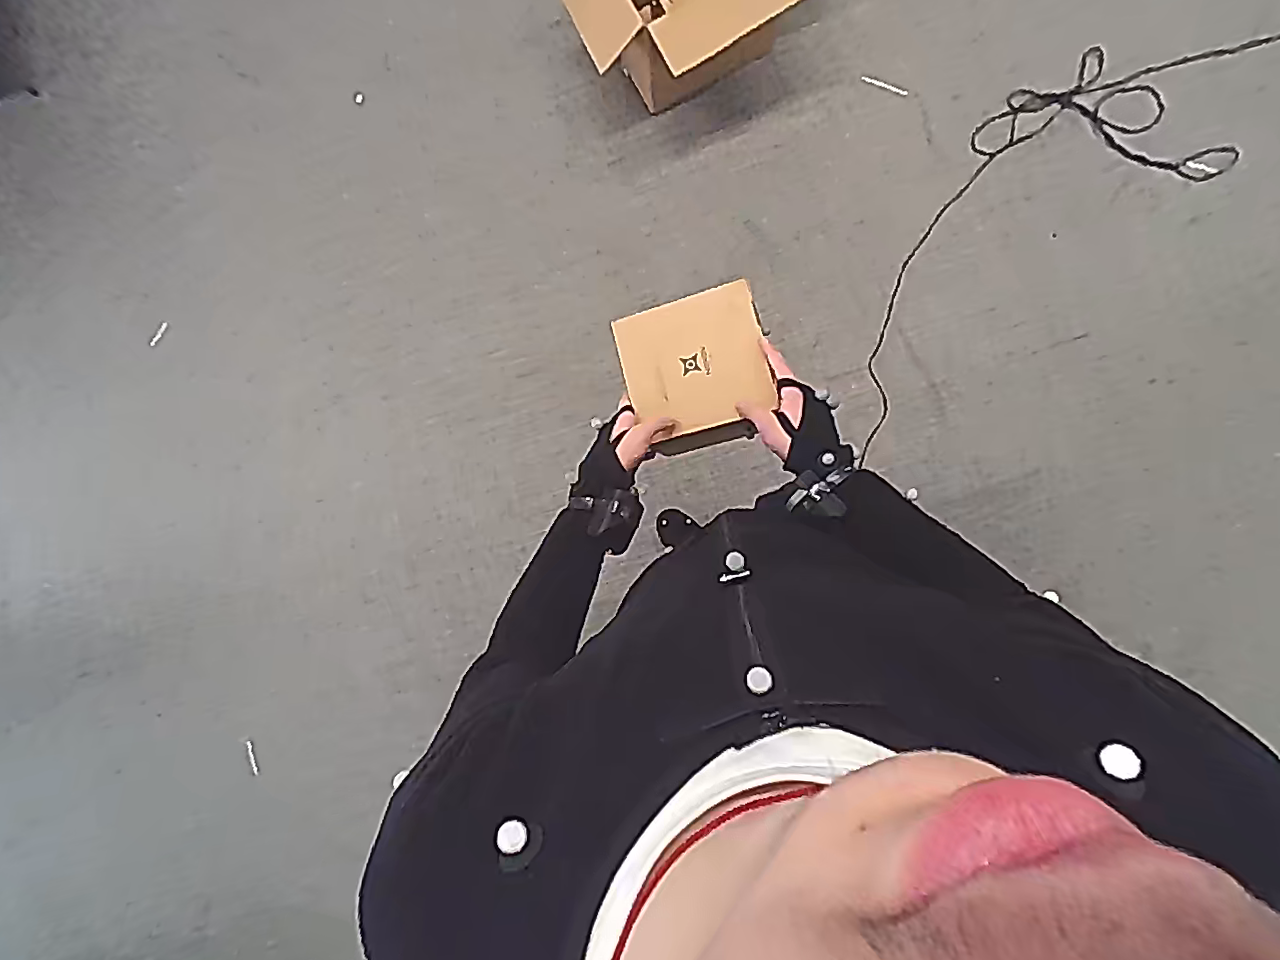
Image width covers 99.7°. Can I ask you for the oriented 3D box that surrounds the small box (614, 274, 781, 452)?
[{"bbox_3d":[0.082,-0.140,0.716,0.179,0.176,0.168,-12,83,13],"label":"small box"}]
